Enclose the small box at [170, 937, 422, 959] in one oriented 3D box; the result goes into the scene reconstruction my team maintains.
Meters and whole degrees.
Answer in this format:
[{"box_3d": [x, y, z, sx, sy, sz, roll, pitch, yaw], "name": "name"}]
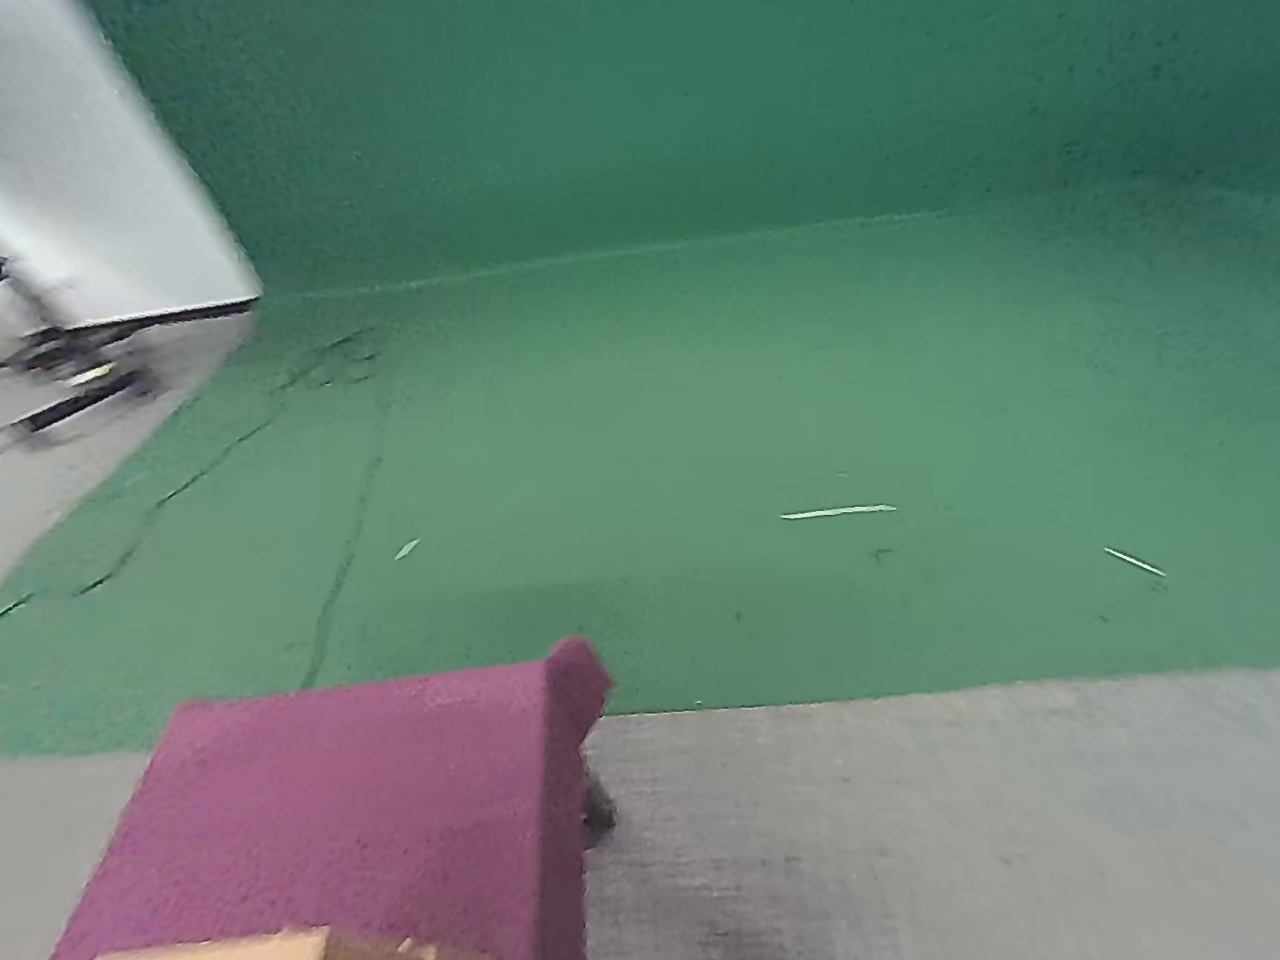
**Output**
[{"box_3d": [-0.274, 0.437, 0.369, 0.179, 0.176, 0.168, -10, 45, 1], "name": "small box"}]
